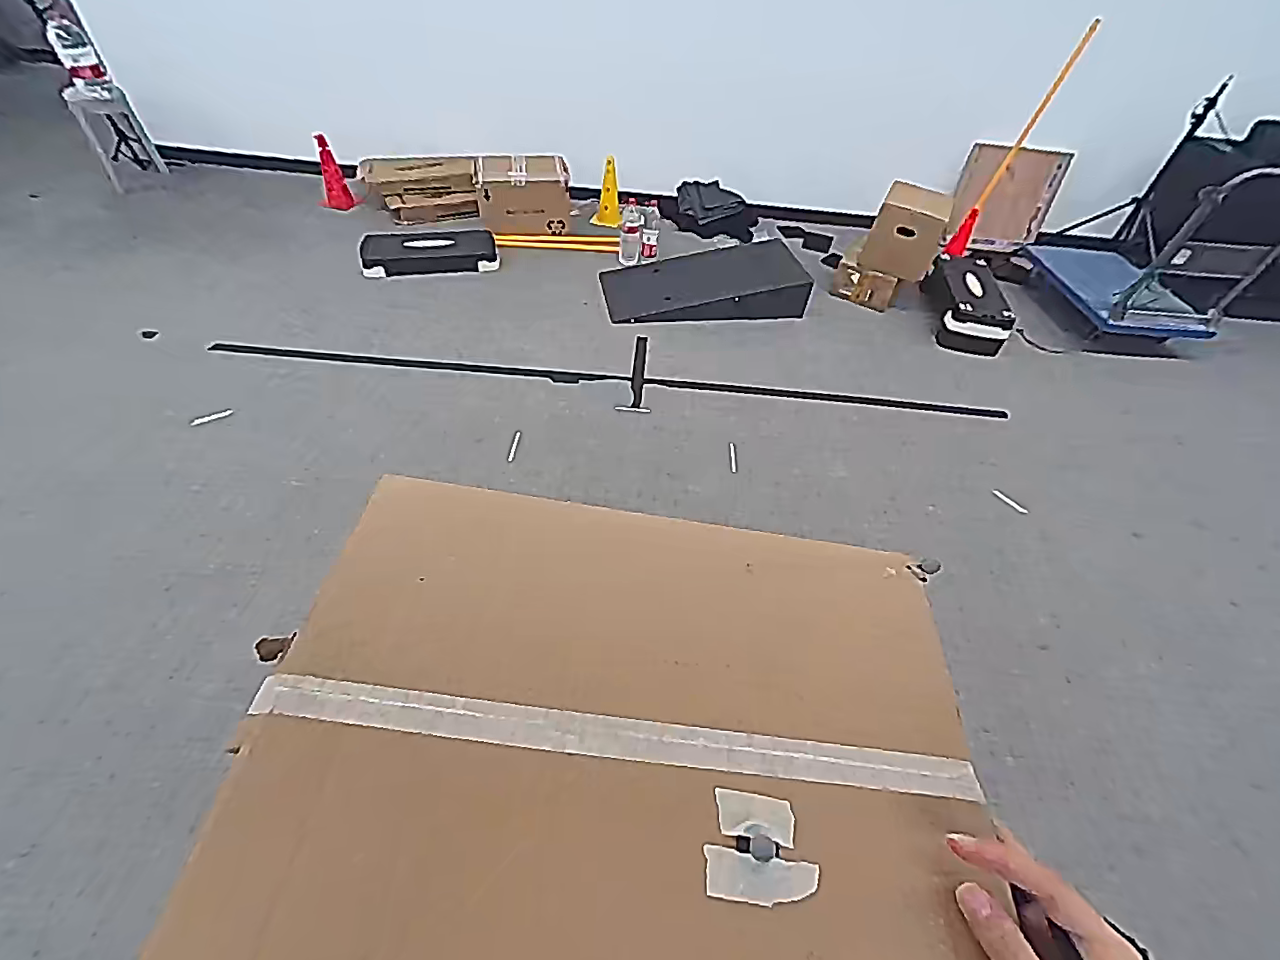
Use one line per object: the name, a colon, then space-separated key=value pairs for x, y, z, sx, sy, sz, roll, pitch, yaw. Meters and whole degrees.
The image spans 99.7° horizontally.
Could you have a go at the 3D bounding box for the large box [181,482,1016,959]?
large box: x=-0.019 y=0.239 z=0.435 sx=0.408 sy=0.320 sz=0.320 roll=10 pitch=52 yaw=-4
